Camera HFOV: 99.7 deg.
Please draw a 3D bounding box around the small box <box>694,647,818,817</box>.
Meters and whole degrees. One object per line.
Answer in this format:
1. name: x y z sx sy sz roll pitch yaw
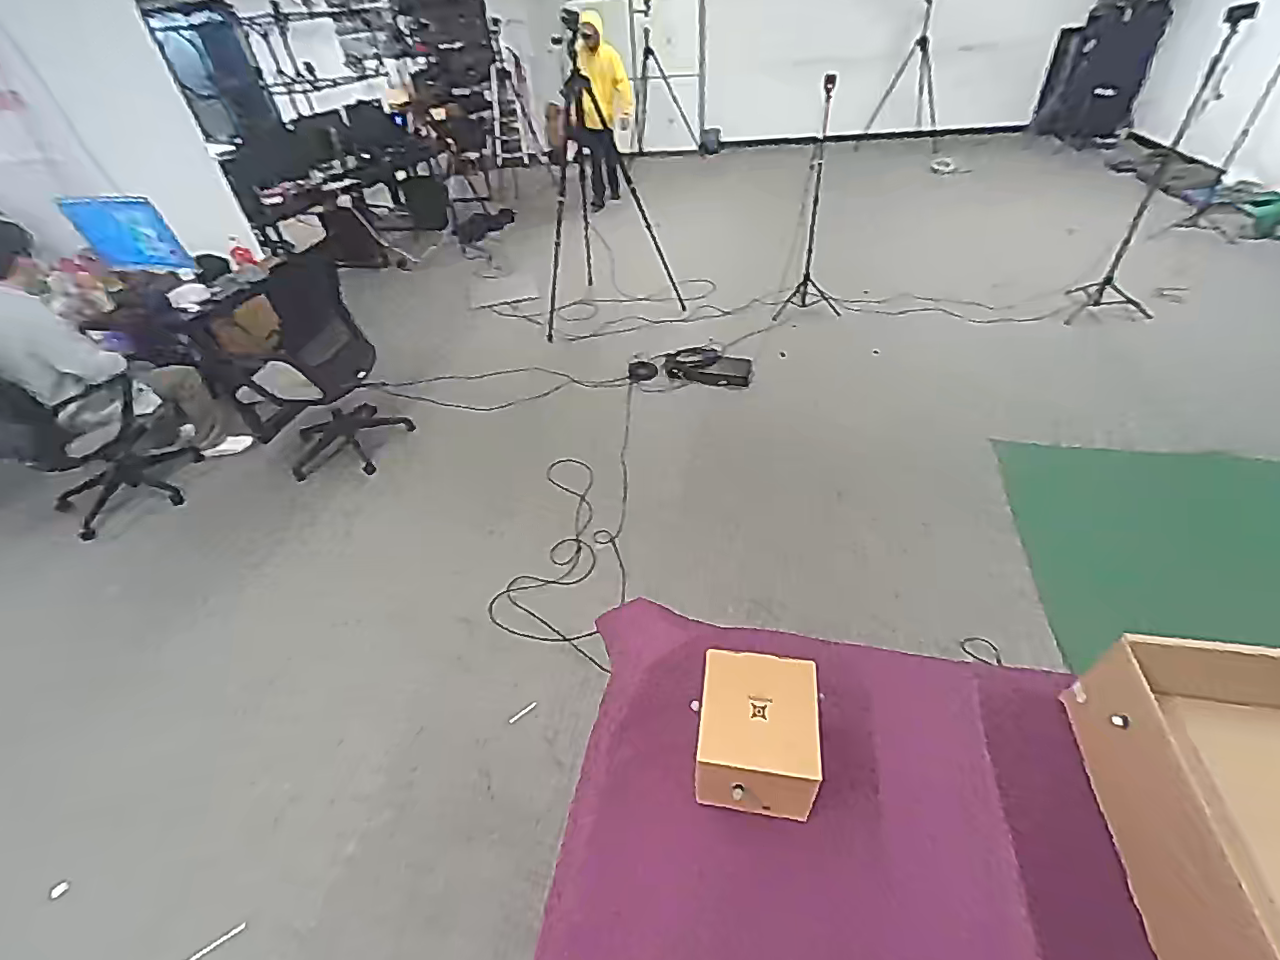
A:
1. small box: 0.177 0.387 0.830 0.168 0.176 0.179 3 41 11
